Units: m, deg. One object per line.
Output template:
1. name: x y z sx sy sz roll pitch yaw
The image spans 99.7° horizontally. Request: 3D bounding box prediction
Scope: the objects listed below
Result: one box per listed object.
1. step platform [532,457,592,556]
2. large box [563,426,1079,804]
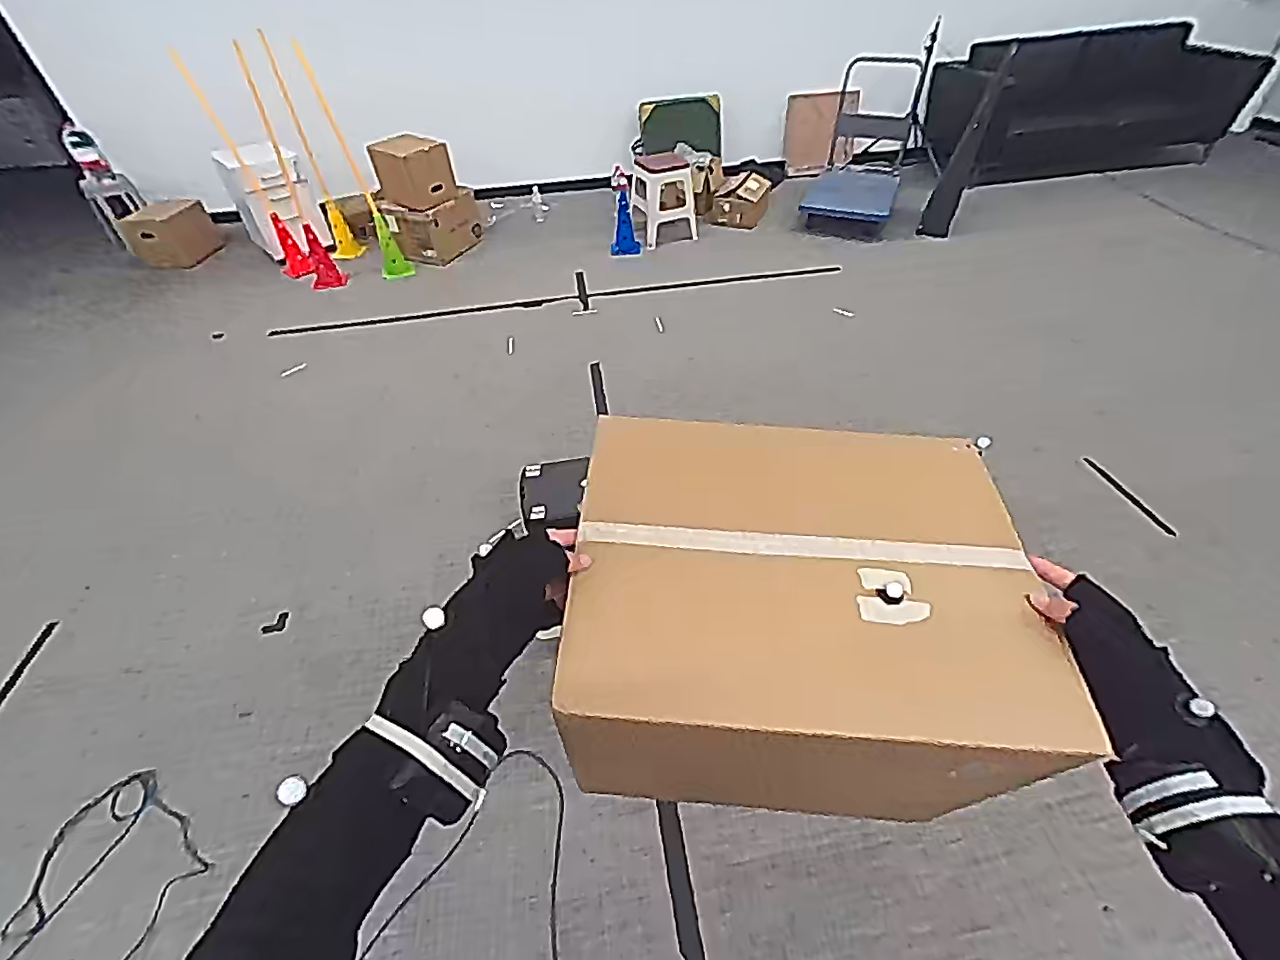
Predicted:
1. step platform: -0.038 0.051 1.929 0.684 0.204 0.286 -10 46 -8
2. large box: 0.138 0.160 0.618 0.408 0.320 0.320 3 51 1
